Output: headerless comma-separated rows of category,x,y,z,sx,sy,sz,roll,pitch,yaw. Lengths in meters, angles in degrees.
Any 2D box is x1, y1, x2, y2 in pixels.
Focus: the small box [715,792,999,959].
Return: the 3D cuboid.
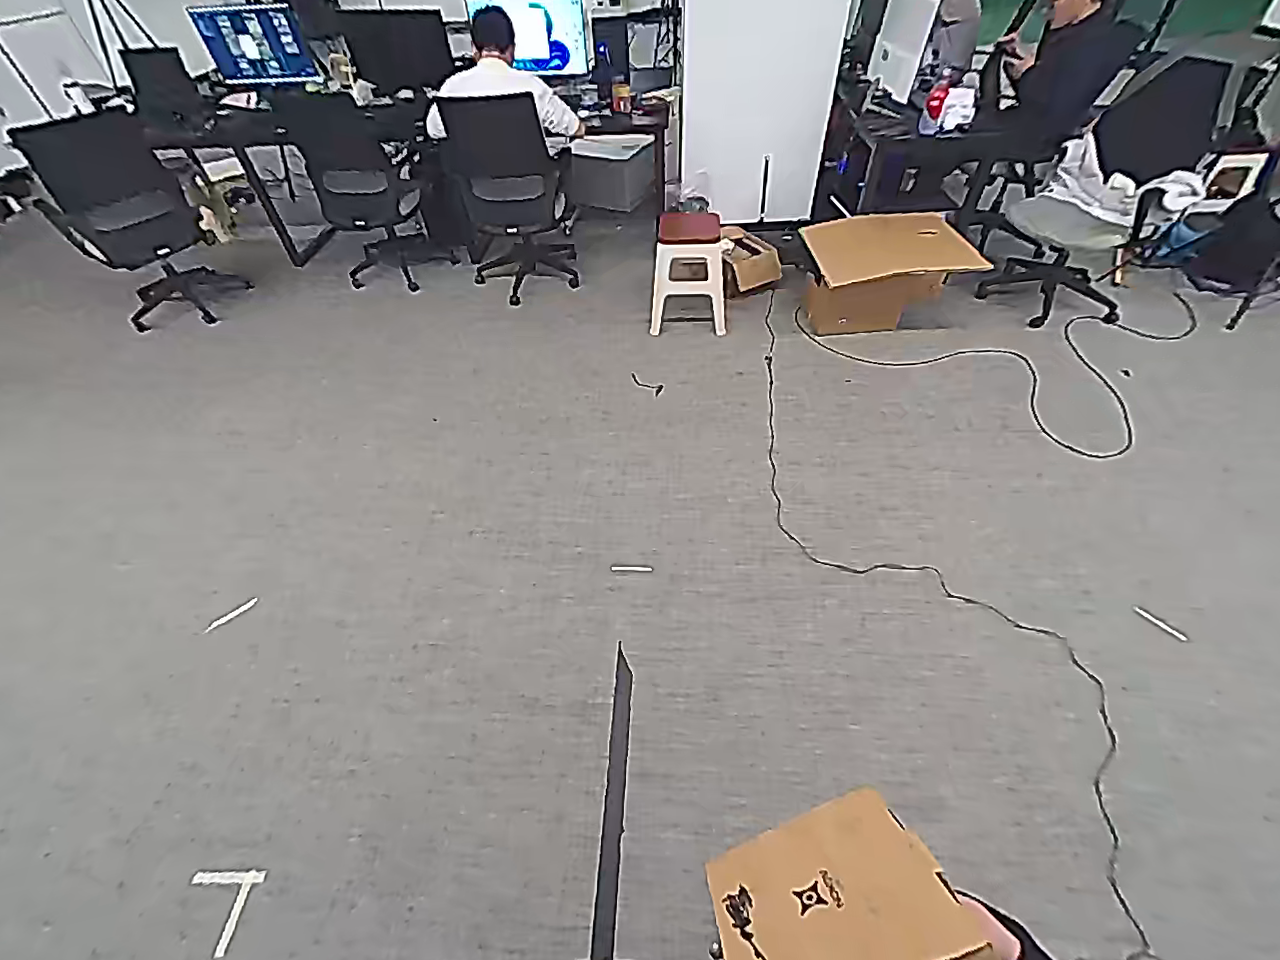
small box,0.184,0.411,0.442,0.179,0.168,0.176,-24,92,-1
